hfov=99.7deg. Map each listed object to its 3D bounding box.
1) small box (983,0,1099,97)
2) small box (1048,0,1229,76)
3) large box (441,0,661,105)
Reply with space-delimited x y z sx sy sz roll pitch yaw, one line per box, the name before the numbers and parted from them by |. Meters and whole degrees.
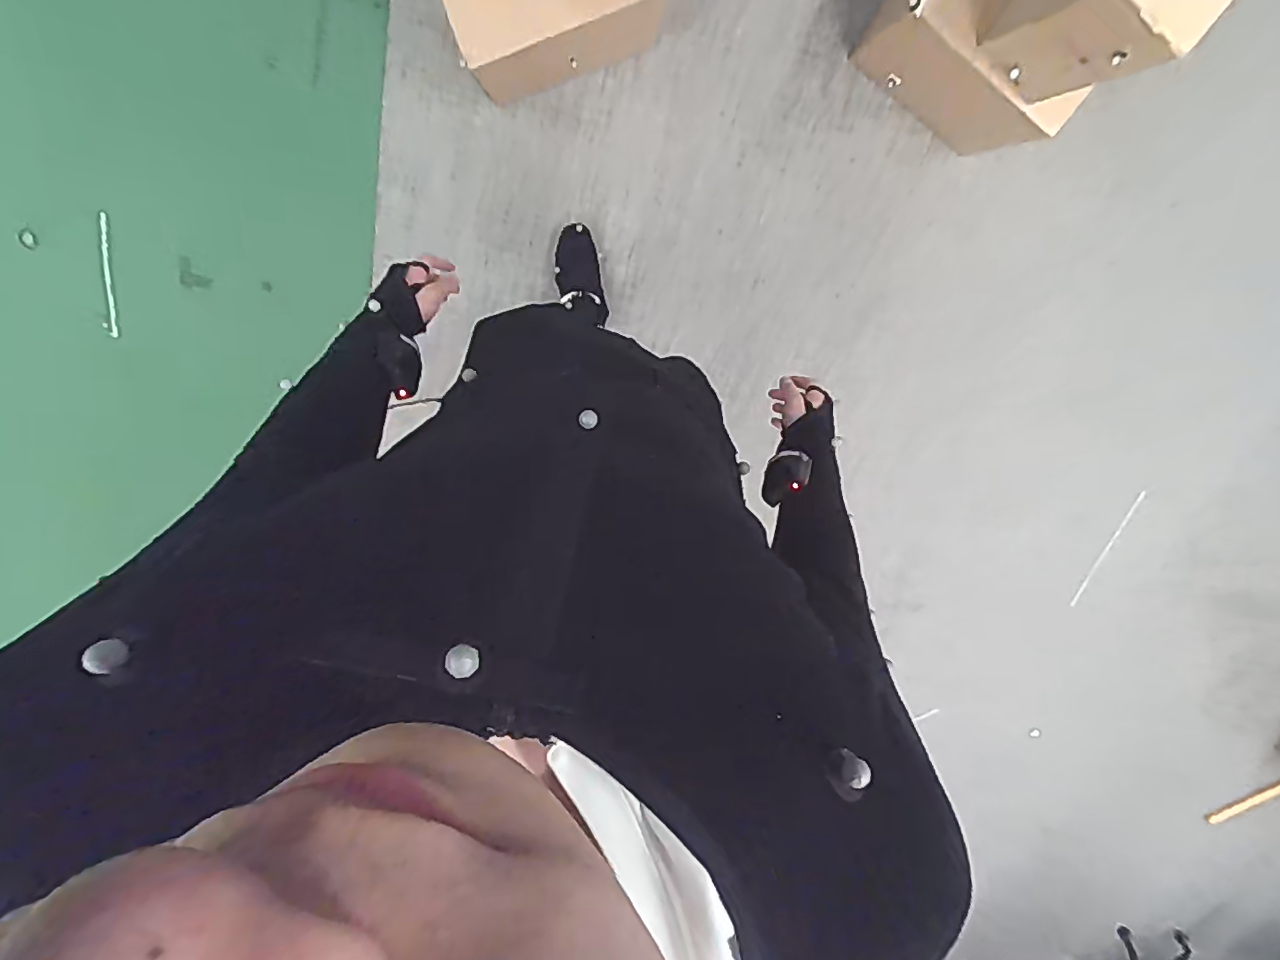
small box | 0.770 -0.834 0.965 0.168 0.176 0.179 31 110 -16
small box | 0.772 -0.763 0.819 0.168 0.176 0.179 29 110 -16
large box | -0.195 -1.034 1.089 0.408 0.320 0.320 -19 112 6
